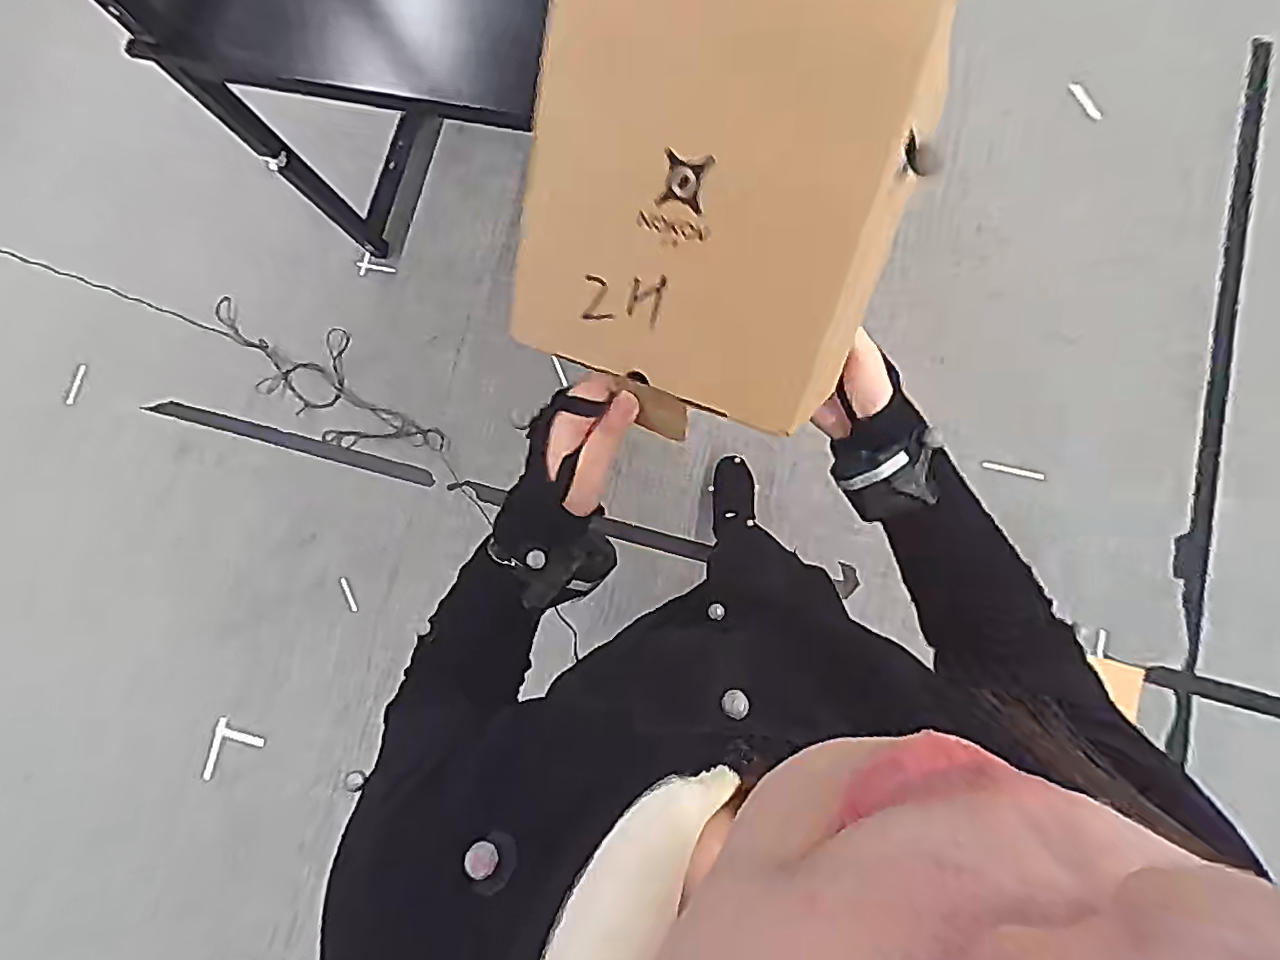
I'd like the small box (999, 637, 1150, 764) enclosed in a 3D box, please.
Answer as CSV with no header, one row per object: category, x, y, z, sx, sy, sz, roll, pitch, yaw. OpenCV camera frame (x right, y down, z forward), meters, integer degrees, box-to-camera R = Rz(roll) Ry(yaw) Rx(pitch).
small box,0.872,0.438,1.104,0.168,0.176,0.179,15,84,8

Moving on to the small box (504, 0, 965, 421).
small box,0.052,-0.153,0.300,0.168,0.176,0.179,22,115,19
